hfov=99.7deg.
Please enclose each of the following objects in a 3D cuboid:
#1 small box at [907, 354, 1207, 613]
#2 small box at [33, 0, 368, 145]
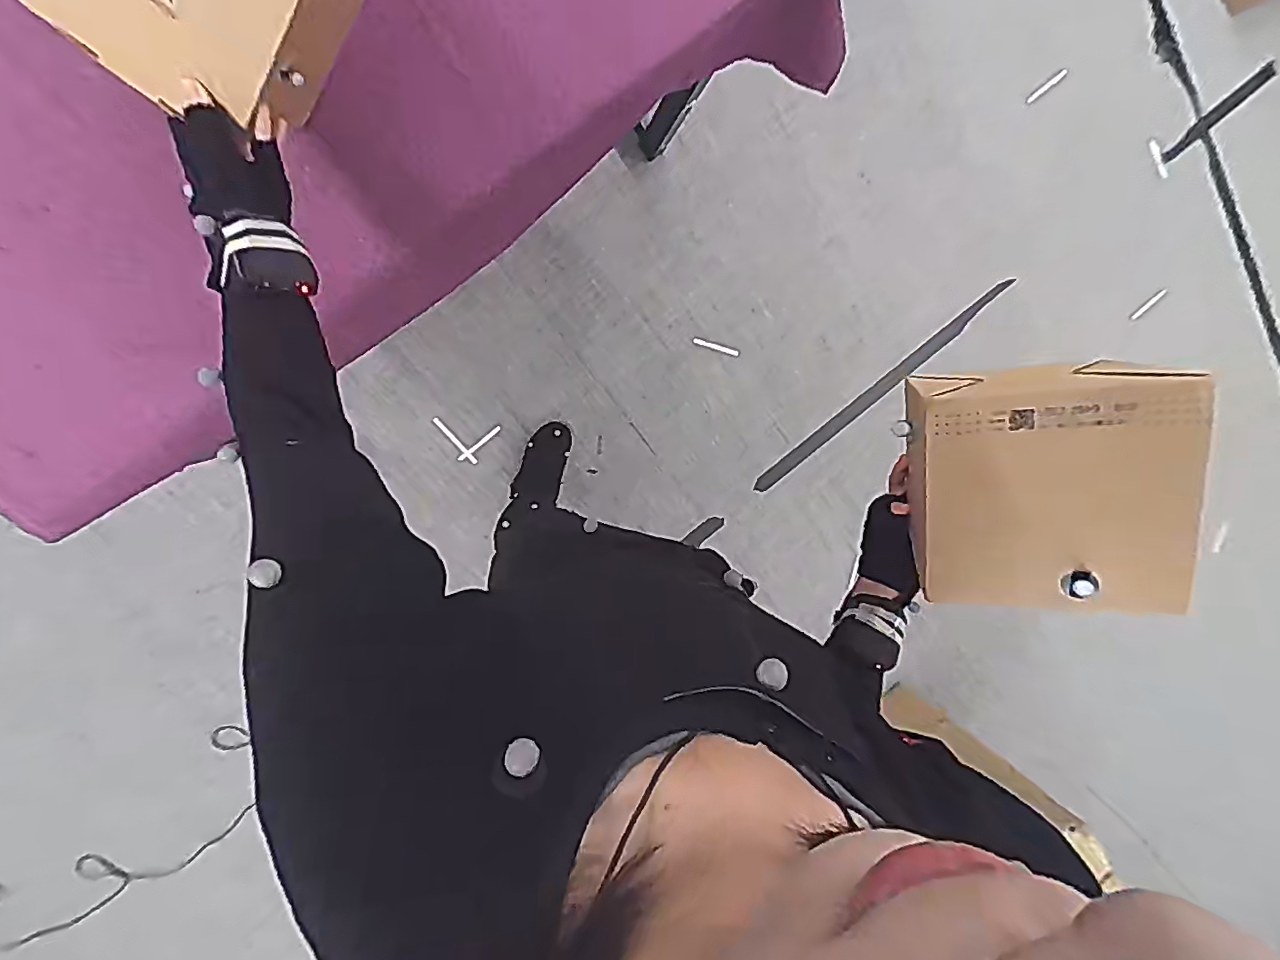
[{"bbox_3d":[0.322,-0.010,0.453,0.168,0.179,0.176,-2,105,23],"label":"small box"},{"bbox_3d":[-0.378,-0.448,0.486,0.168,0.176,0.179,34,120,-27],"label":"small box"}]
